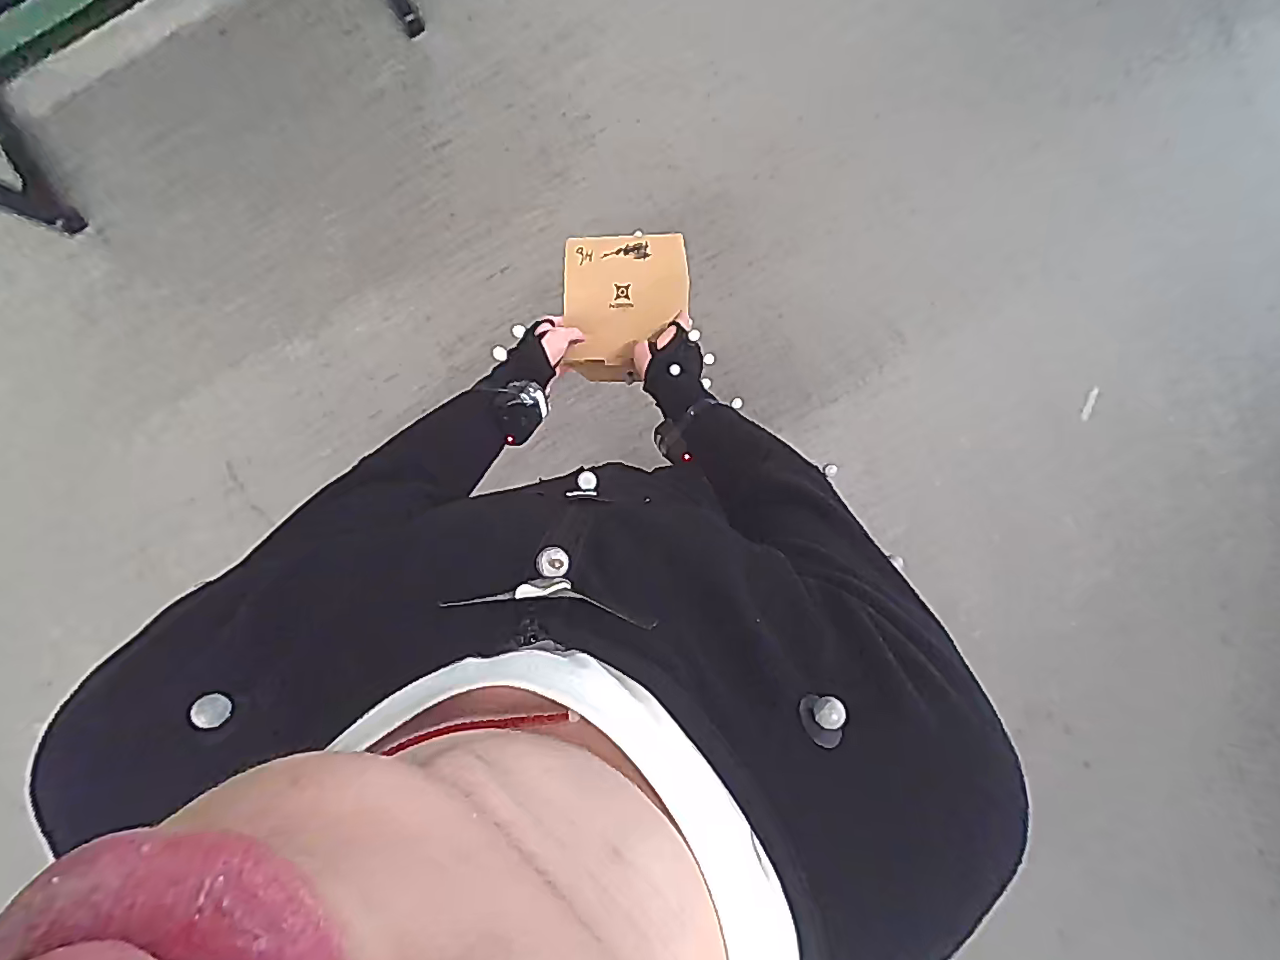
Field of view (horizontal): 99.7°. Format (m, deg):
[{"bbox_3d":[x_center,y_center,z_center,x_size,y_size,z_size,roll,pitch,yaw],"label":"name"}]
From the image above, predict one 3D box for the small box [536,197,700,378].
[{"bbox_3d":[-0.022,-0.275,0.821,0.179,0.176,0.168,-30,86,9],"label":"small box"}]
